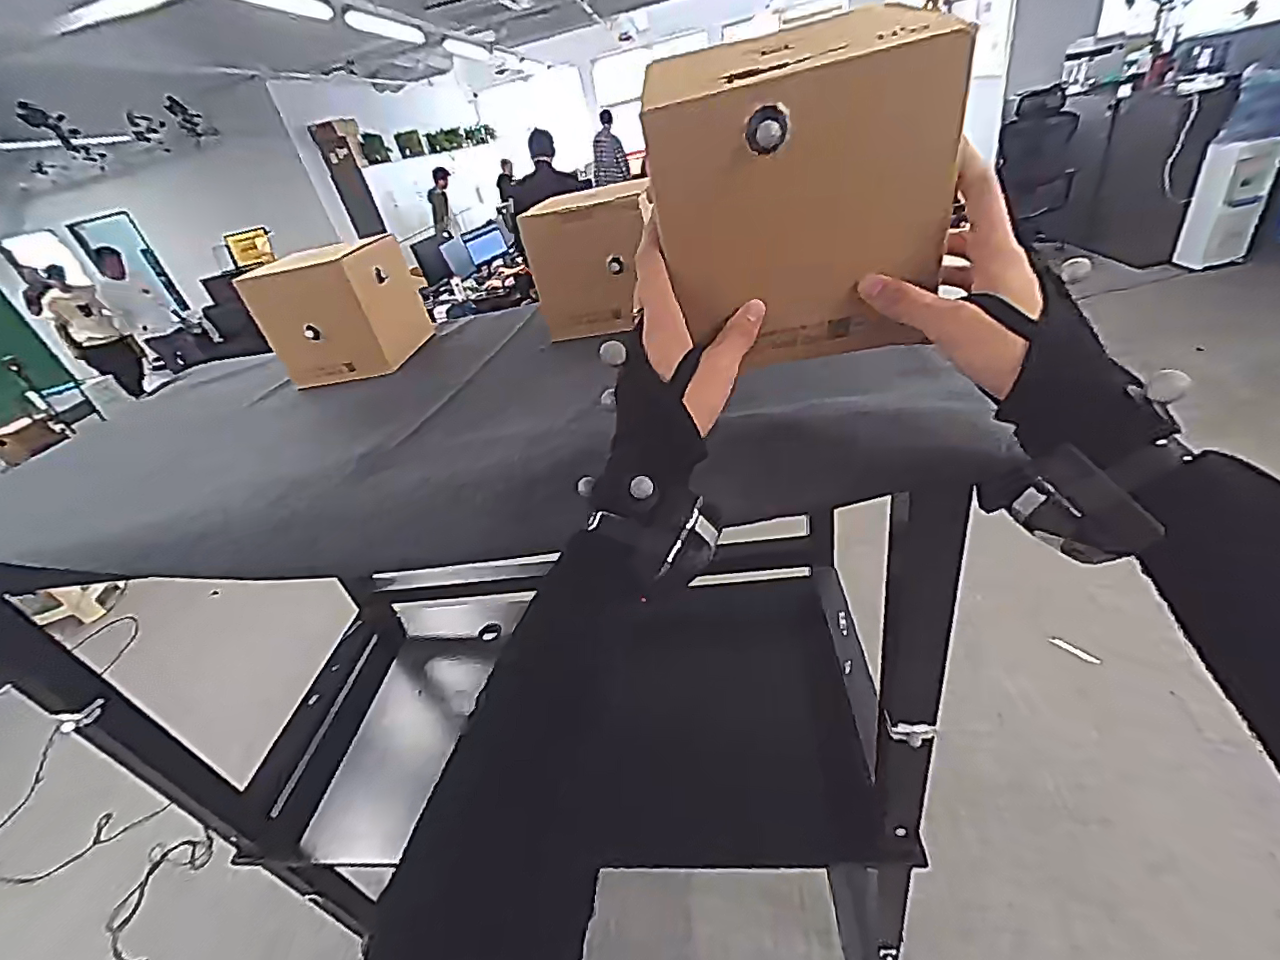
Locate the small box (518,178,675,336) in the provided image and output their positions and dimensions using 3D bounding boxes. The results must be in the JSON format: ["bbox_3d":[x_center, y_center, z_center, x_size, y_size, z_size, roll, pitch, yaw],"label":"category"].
[{"bbox_3d":[-0.048,-0.313,0.773,0.168,0.176,0.179,-3,34,14],"label":"small box"}]

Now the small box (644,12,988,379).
[{"bbox_3d":[0.102,-0.194,0.376,0.168,0.176,0.179,-8,42,10],"label":"small box"}]

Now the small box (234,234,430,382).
[{"bbox_3d":[-0.453,-0.259,0.834,0.168,0.176,0.179,-7,34,9],"label":"small box"}]
